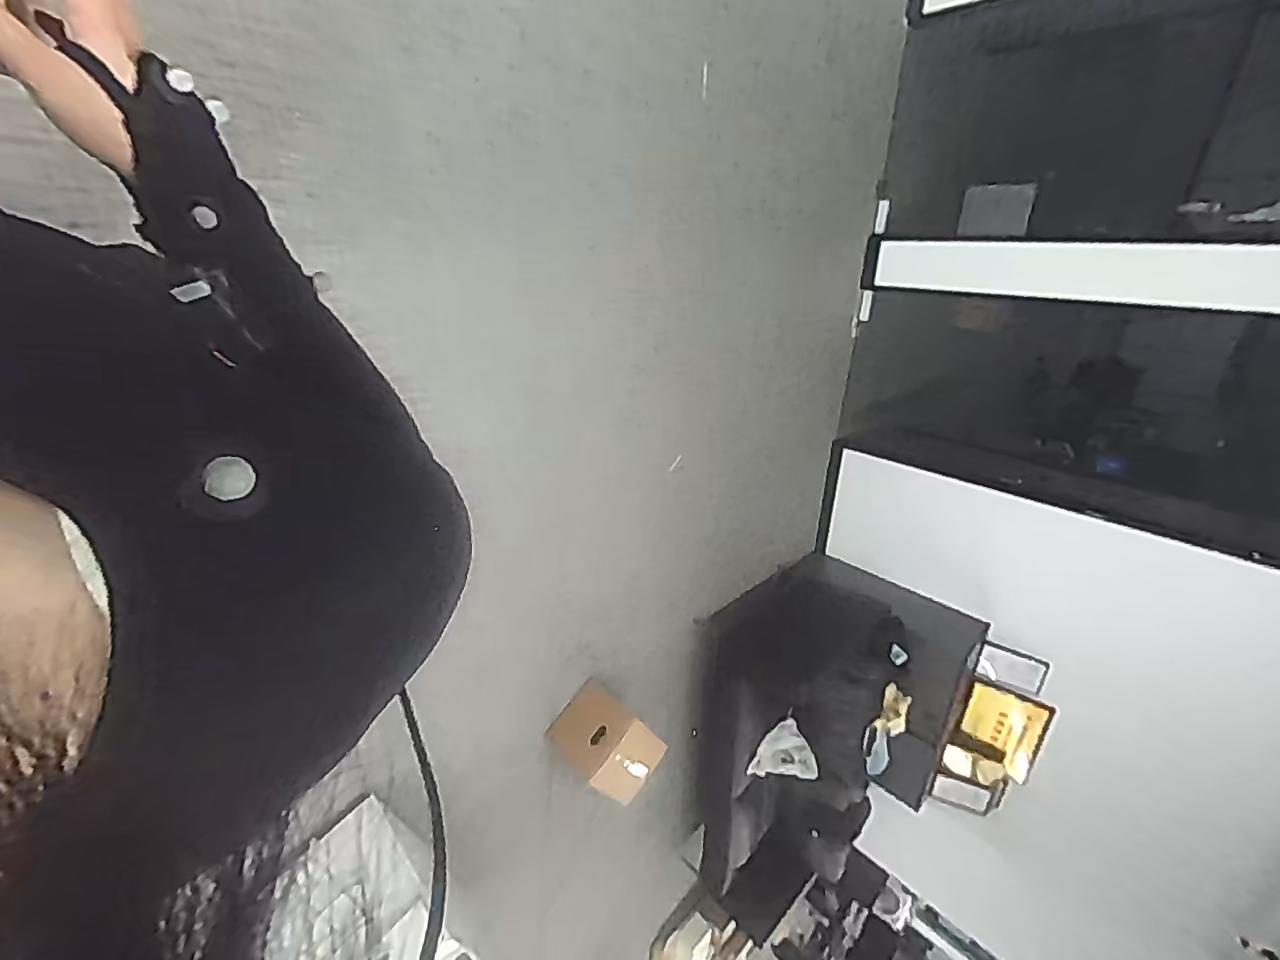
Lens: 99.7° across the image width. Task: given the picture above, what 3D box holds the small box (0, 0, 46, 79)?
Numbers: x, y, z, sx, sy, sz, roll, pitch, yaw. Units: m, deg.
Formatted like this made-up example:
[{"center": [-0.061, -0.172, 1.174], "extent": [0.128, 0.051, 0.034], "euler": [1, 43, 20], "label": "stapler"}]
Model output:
[{"center": [-0.429, -0.331, 0.262], "extent": [0.168, 0.176, 0.179], "euler": [-5, 118, -40], "label": "small box"}]
